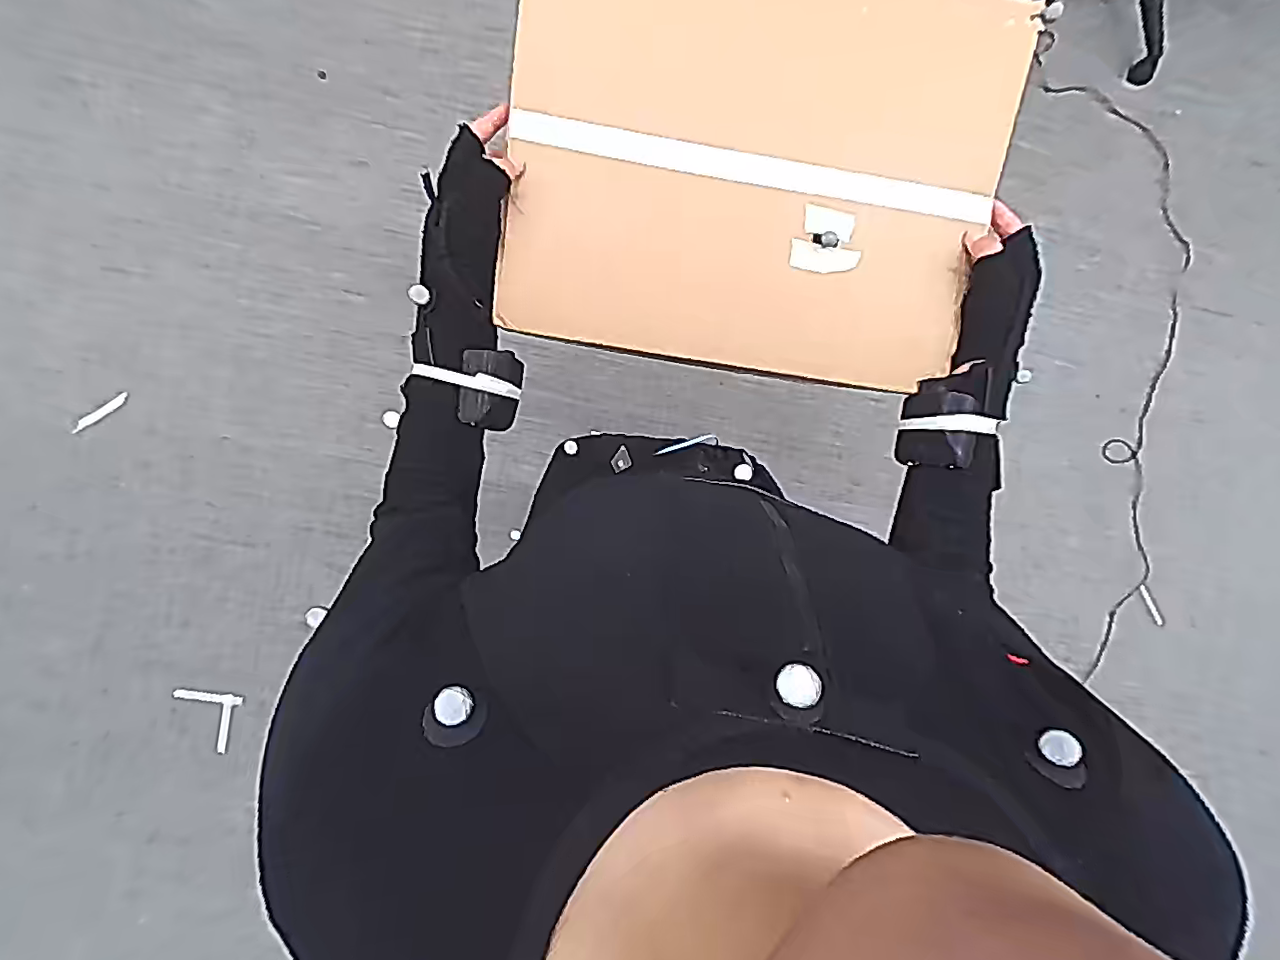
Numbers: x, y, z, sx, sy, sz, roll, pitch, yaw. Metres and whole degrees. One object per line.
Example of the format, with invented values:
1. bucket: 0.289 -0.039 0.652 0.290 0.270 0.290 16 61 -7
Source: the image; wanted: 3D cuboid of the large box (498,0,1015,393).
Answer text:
1. large box: 0.081 -0.285 0.600 0.408 0.320 0.320 8 103 -6
